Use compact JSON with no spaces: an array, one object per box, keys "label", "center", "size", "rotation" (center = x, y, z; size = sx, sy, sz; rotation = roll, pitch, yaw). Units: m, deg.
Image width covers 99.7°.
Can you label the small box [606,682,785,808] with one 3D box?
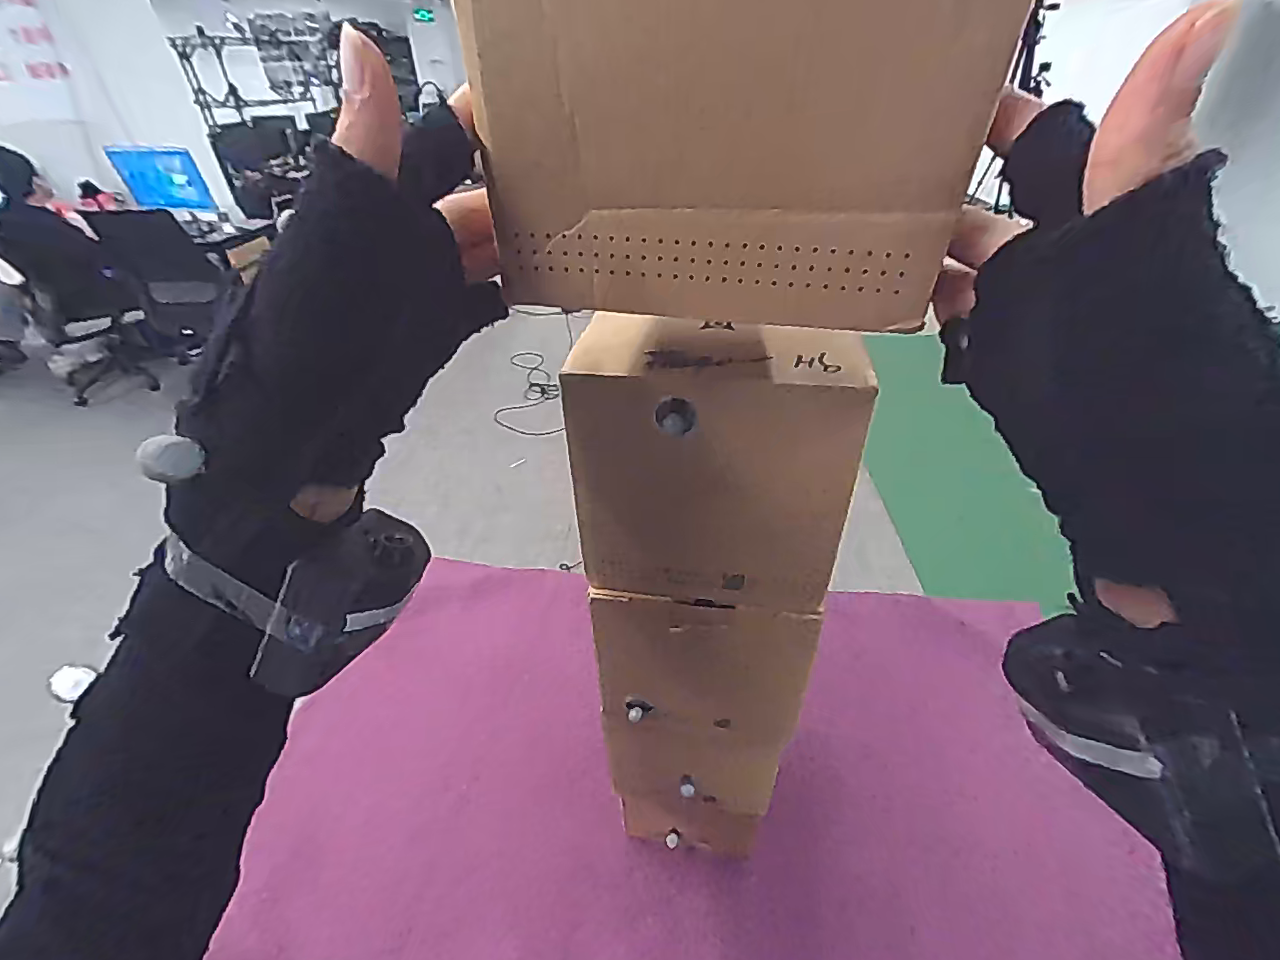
[{"label":"small box","center":[0.063,0.224,0.597],"size":[0.168,0.176,0.179],"rotation":[3,37,8]}]

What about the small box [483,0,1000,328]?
[{"label":"small box","center":[0.039,-0.180,0.240],"size":[0.179,0.176,0.168],"rotation":[7,41,8]}]

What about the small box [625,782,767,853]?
[{"label":"small box","center":[0.074,0.346,0.707],"size":[0.168,0.176,0.179],"rotation":[4,38,9]}]

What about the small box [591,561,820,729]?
[{"label":"small box","center":[0.061,0.098,0.492],"size":[0.168,0.176,0.179],"rotation":[4,36,8]}]

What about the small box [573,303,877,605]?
[{"label":"small box","center":[0.057,-0.036,0.399],"size":[0.168,0.176,0.179],"rotation":[5,36,9]}]
